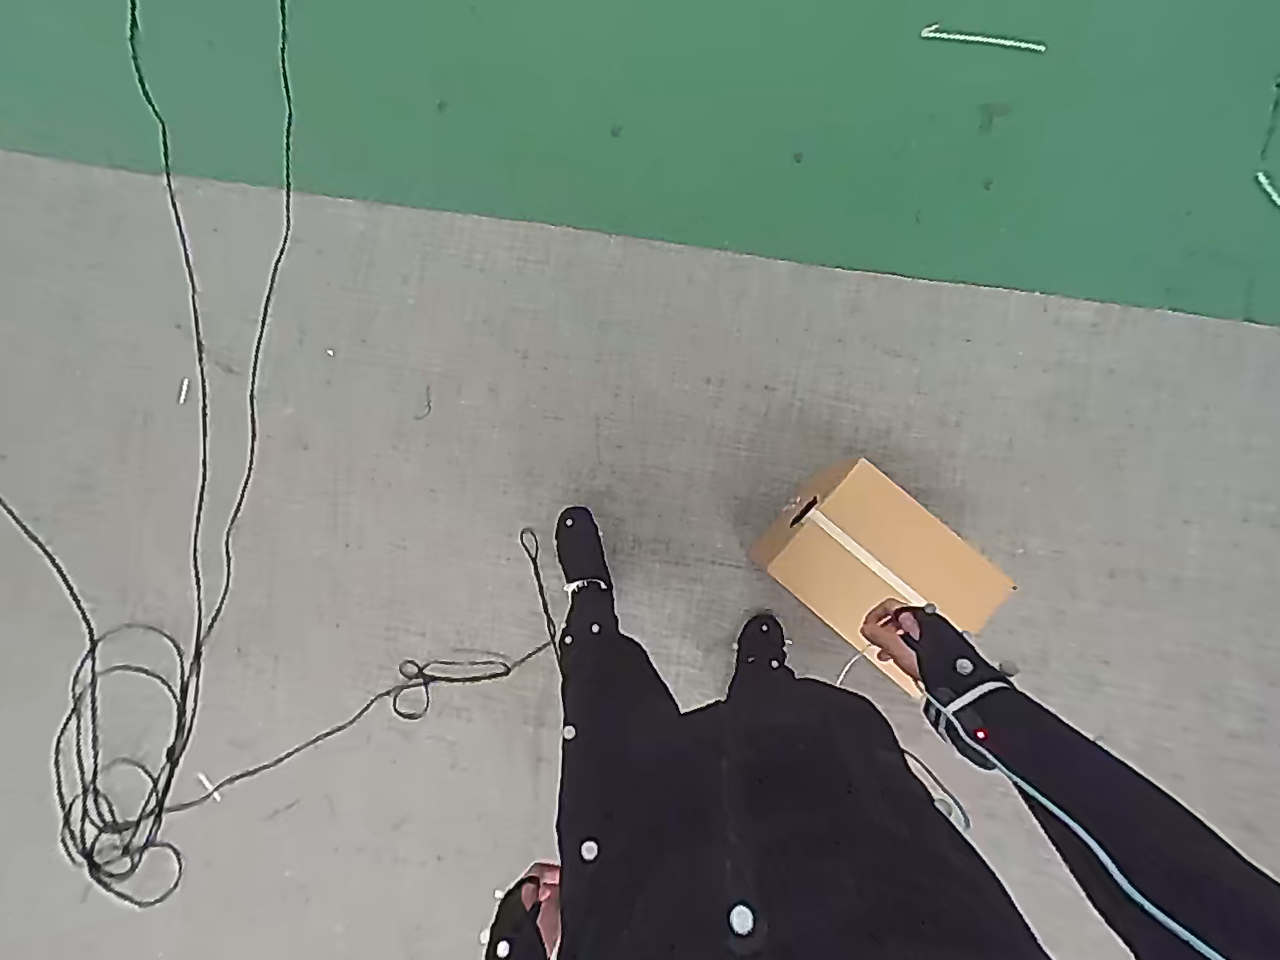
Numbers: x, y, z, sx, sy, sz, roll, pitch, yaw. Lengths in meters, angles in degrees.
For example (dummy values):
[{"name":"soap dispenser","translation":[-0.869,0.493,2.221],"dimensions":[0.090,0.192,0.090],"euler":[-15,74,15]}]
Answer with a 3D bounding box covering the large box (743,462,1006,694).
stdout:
[{"name":"large box","translation":[0.508,0.206,1.265],"dimensions":[0.408,0.320,0.320],"euler":[40,90,4]}]
